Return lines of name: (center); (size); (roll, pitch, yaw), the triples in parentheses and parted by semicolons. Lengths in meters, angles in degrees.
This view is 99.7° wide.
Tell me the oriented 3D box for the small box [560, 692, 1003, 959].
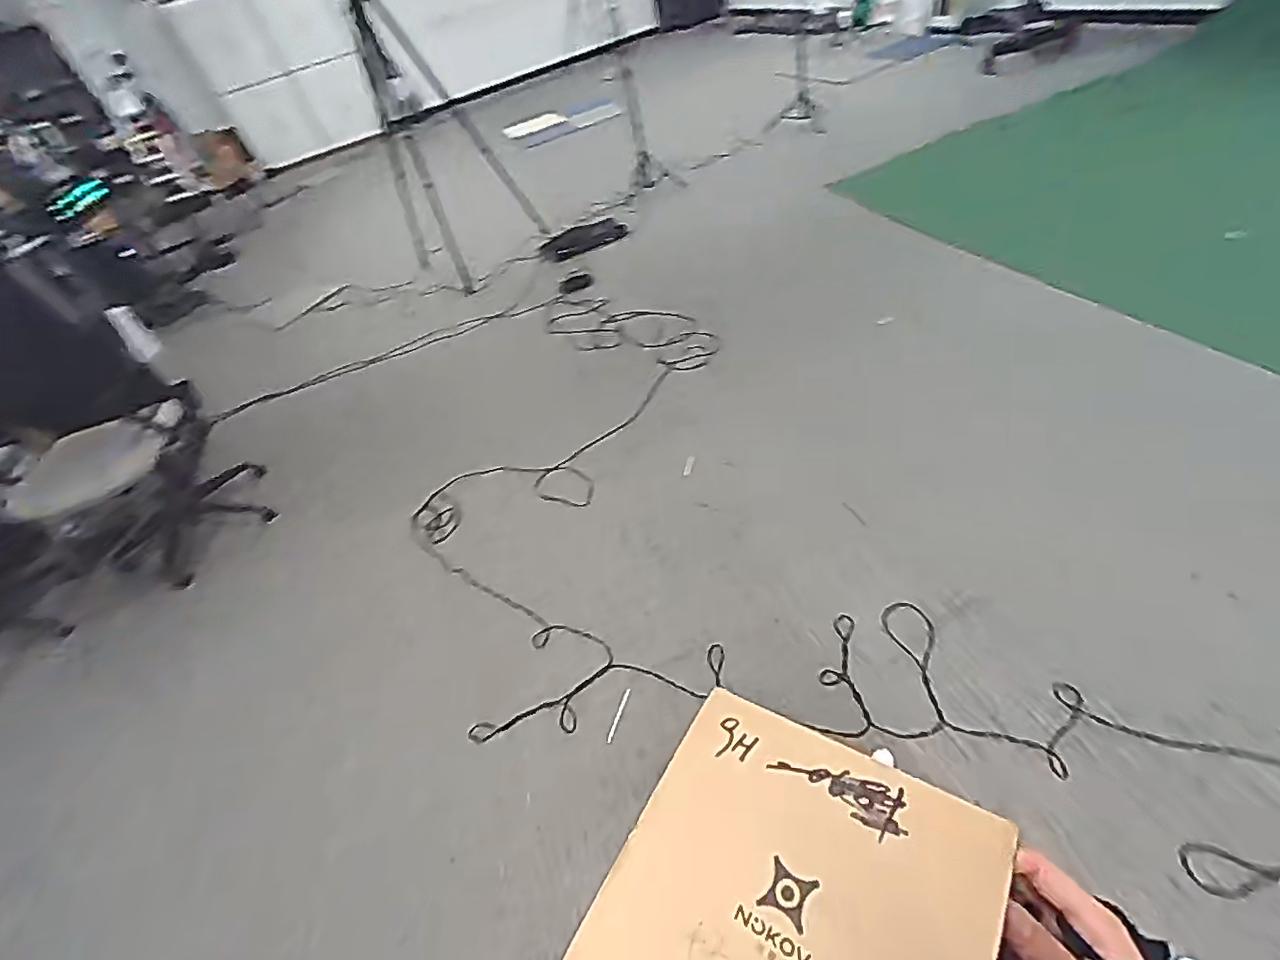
small box: (0.087, 0.267, 0.309); (0.168, 0.176, 0.179); (14, 51, 36)
